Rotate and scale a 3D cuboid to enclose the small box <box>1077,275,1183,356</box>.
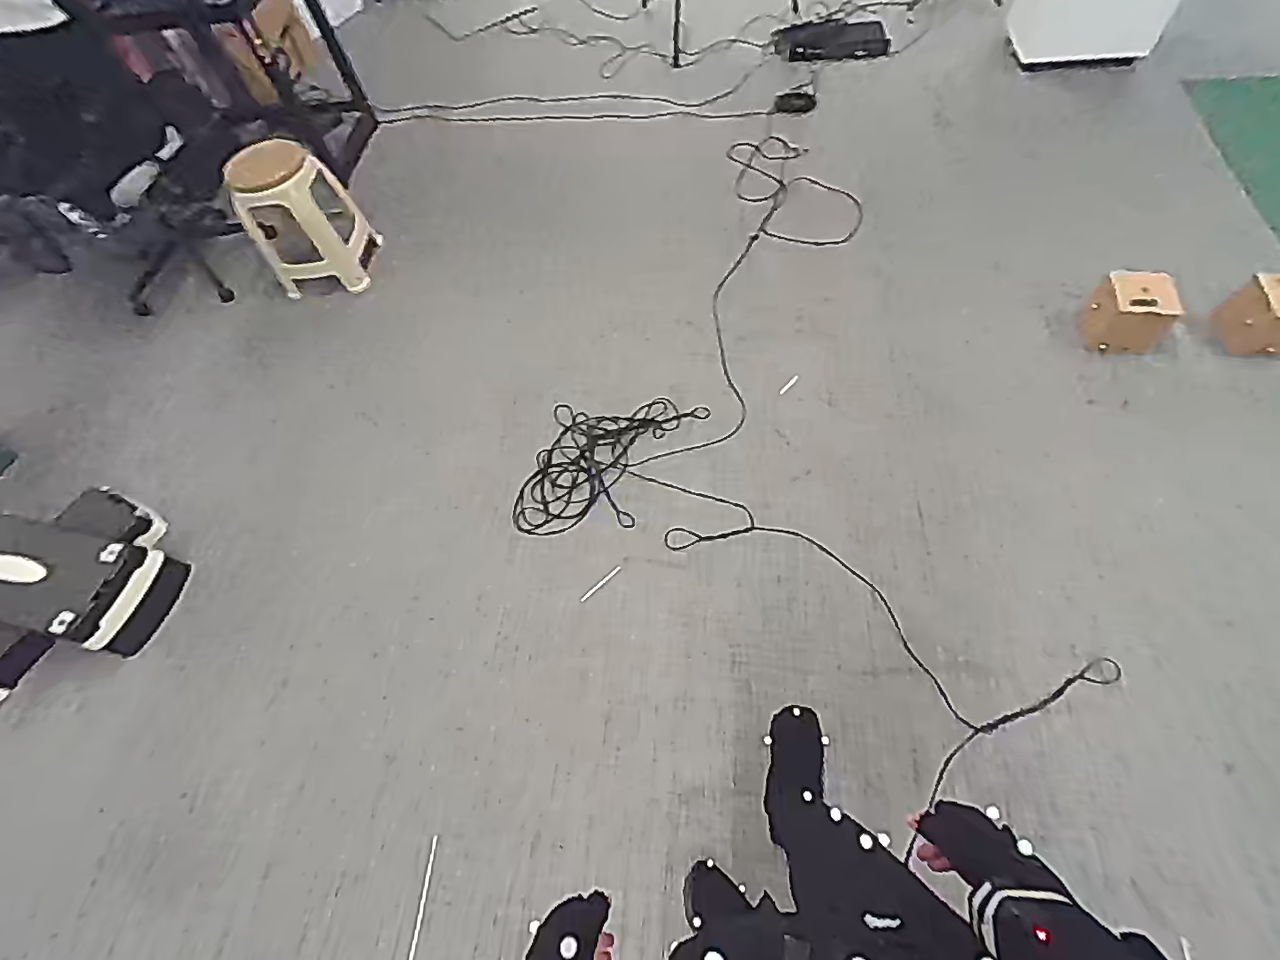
[{"bbox_3d":[1.493,-0.501,1.660,0.168,0.176,0.179,8,61,11],"label":"small box"}]
